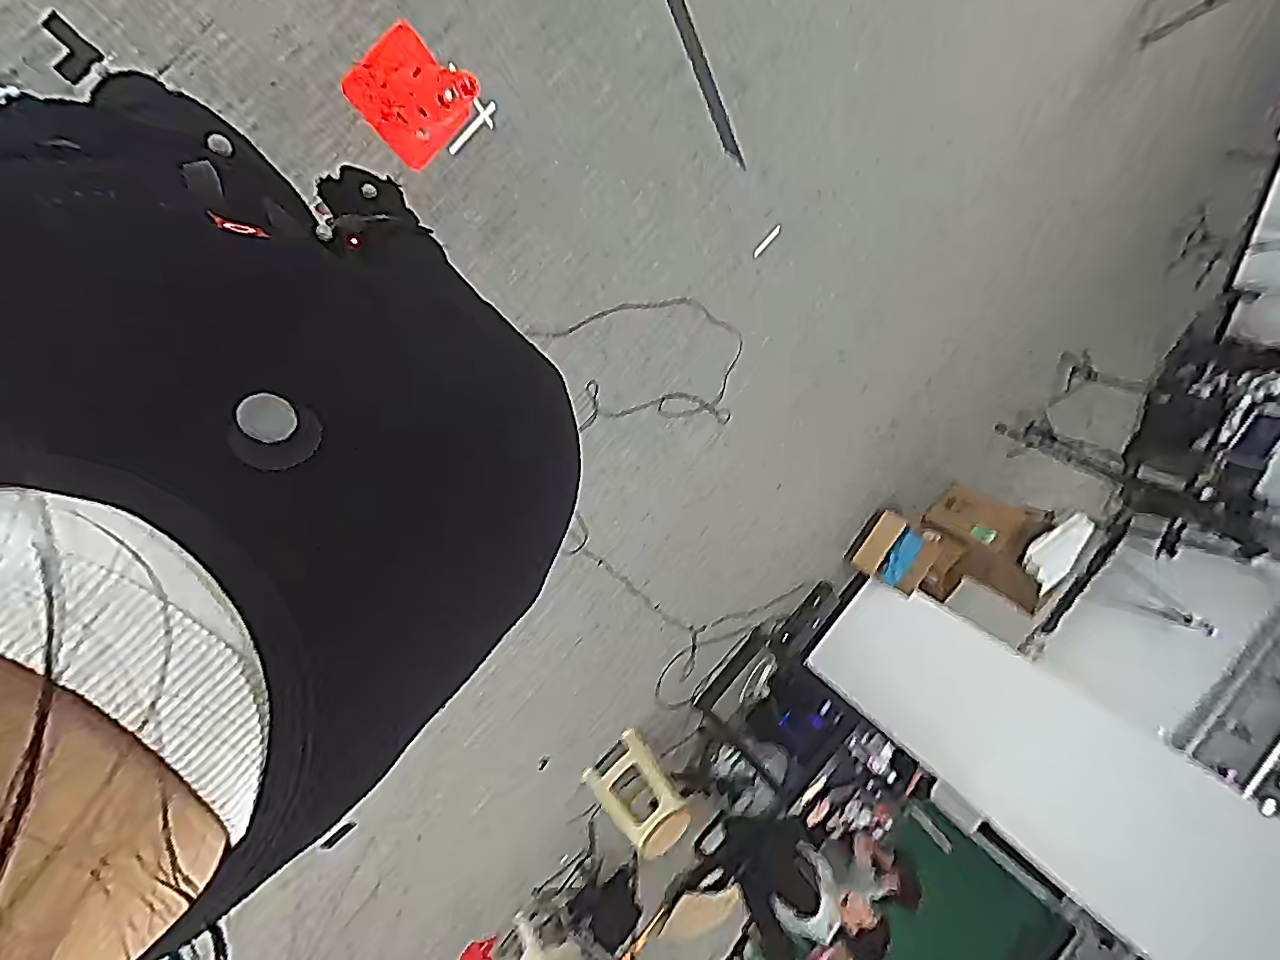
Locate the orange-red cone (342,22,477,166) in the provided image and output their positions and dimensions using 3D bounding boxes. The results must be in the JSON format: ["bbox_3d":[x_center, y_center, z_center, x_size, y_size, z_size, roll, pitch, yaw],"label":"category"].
[{"bbox_3d":[-0.393,-0.740,1.023,0.198,0.360,0.199,-50,135,-5],"label":"orange-red cone"}]
